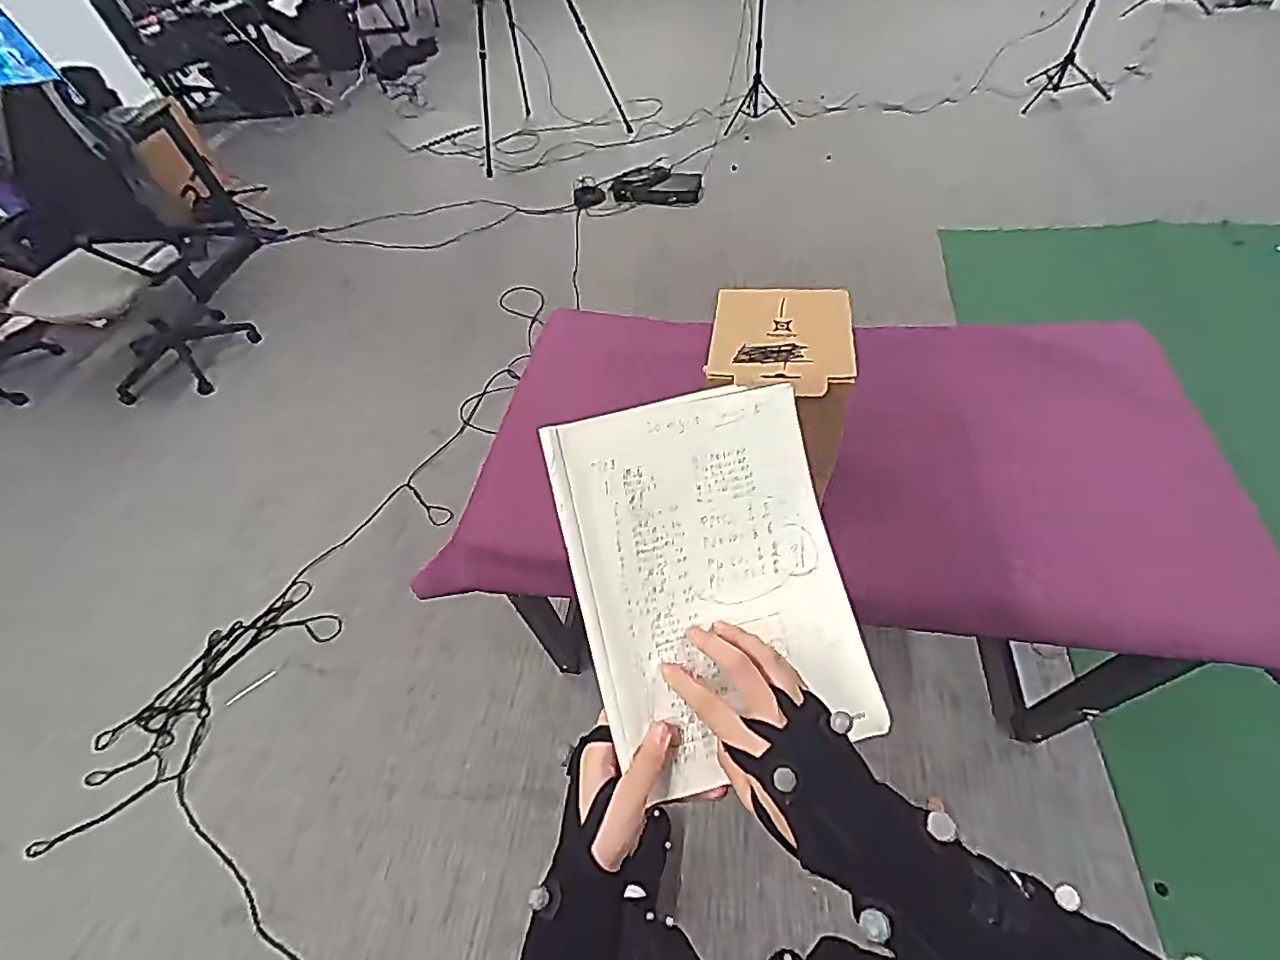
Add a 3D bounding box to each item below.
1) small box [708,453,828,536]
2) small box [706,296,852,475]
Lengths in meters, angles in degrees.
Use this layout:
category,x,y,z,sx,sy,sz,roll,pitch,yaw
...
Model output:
category,x,y,z,sx,sy,sz,roll,pitch,yaw
small box,0.201,-0.027,0.857,0.168,0.176,0.179,5,54,11
small box,0.182,-0.124,0.724,0.168,0.176,0.179,5,52,11
